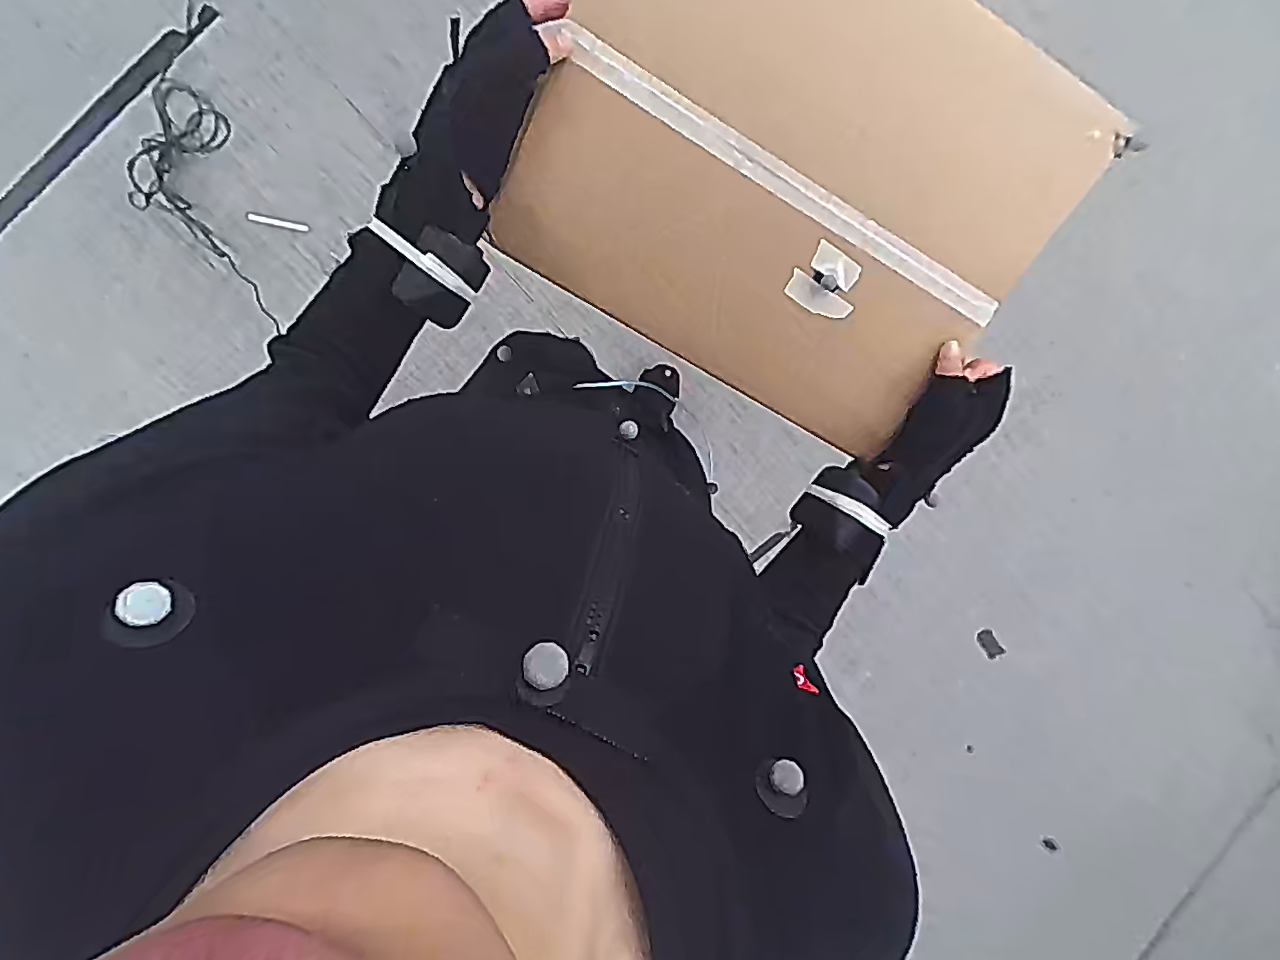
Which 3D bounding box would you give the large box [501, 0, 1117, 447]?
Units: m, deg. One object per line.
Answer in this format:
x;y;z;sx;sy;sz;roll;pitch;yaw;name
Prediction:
0.127;-0.296;0.575;0.408;0.320;0.320;28;112;-10;large box
